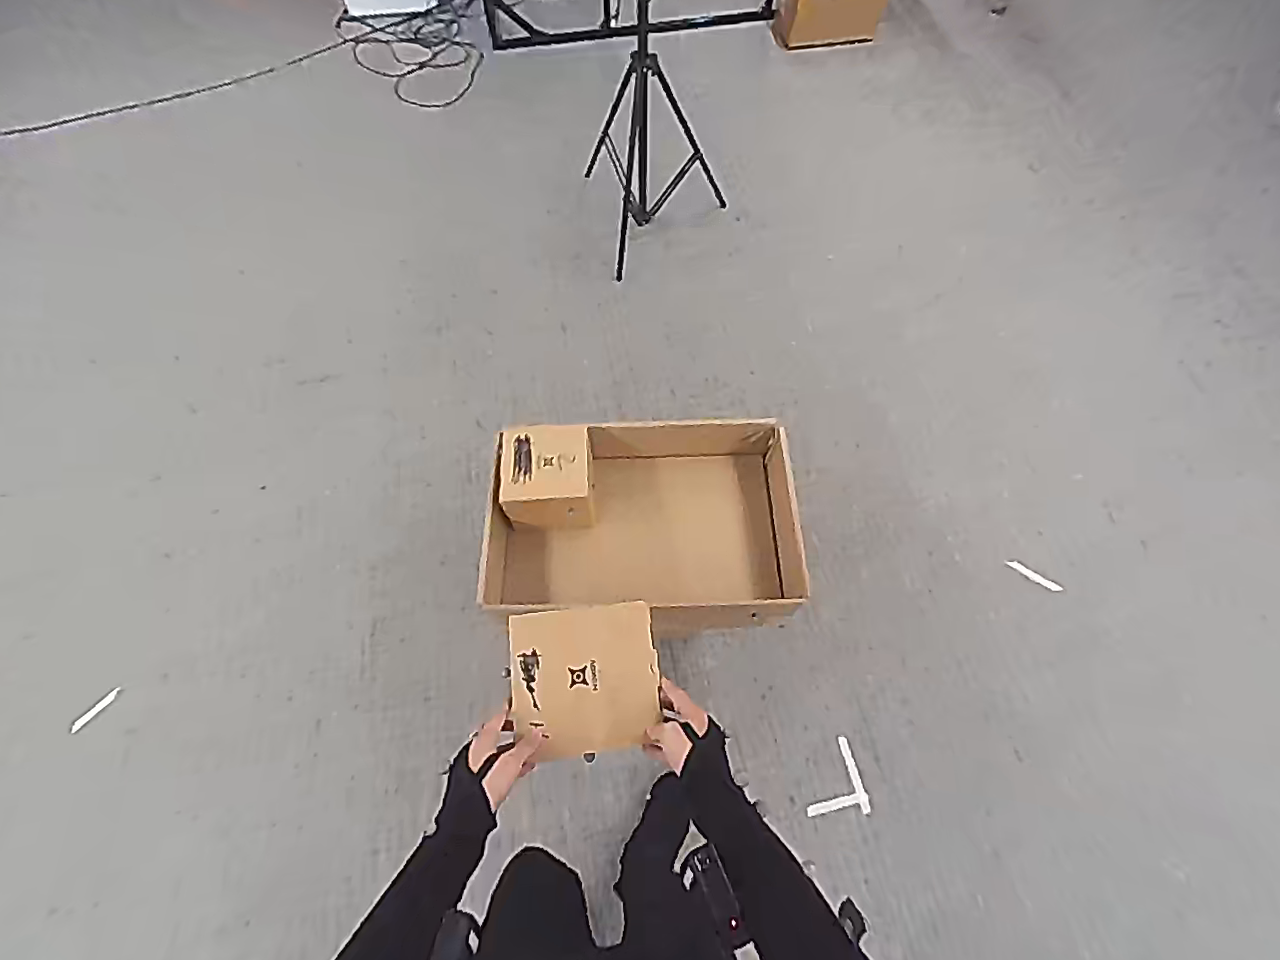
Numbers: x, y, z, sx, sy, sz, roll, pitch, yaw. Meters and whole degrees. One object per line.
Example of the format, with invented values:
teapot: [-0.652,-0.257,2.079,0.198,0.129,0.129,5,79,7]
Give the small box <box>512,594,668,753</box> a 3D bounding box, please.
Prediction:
small box: [-0.071,0.252,0.709,0.179,0.176,0.168,-4,67,-9]
